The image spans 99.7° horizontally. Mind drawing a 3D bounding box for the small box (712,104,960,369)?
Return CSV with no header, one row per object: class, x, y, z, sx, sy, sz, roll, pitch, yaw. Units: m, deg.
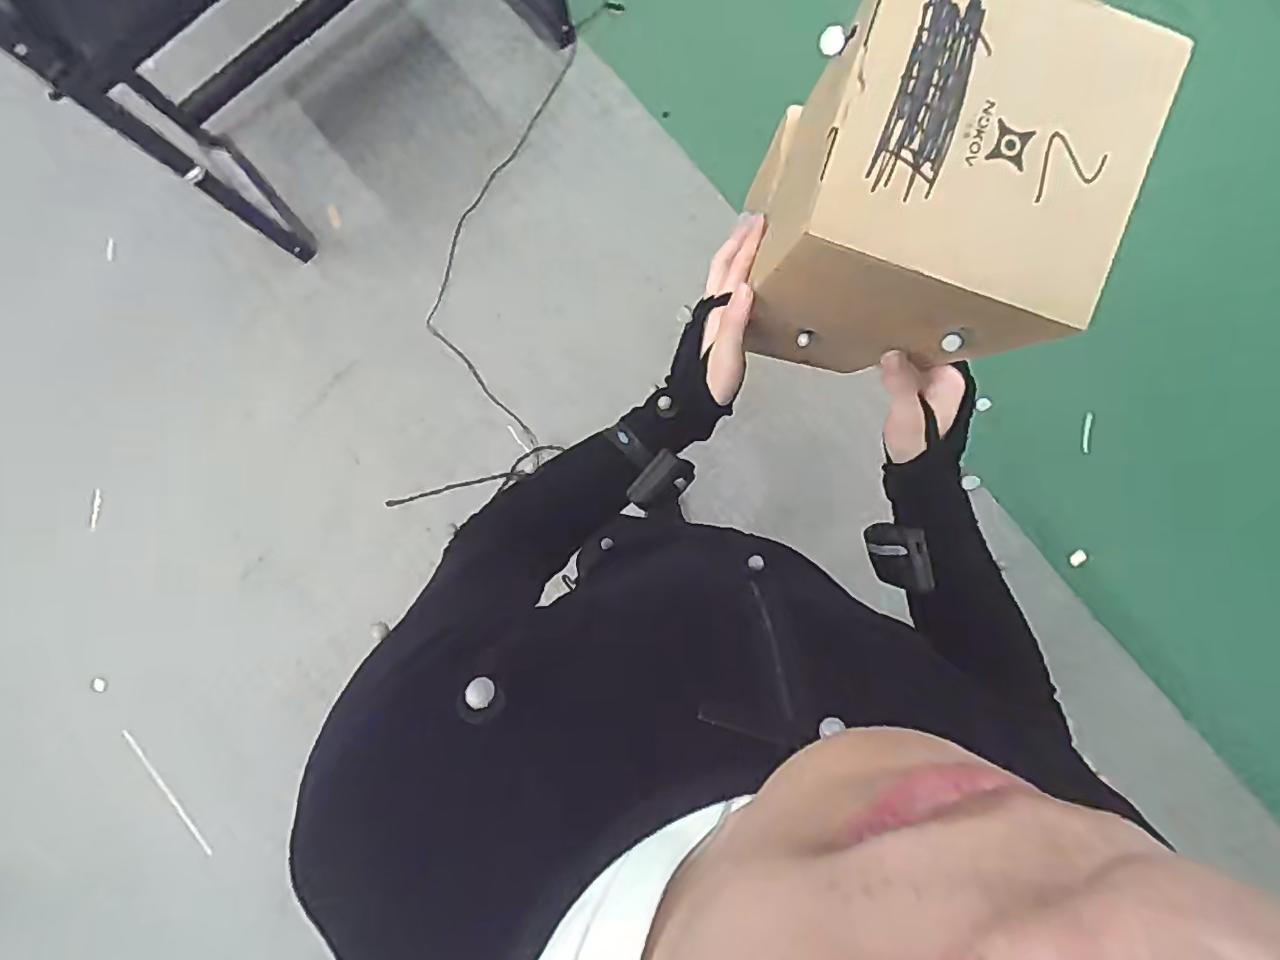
small box,0.175,-0.222,0.543,0.168,0.176,0.179,12,94,-1
